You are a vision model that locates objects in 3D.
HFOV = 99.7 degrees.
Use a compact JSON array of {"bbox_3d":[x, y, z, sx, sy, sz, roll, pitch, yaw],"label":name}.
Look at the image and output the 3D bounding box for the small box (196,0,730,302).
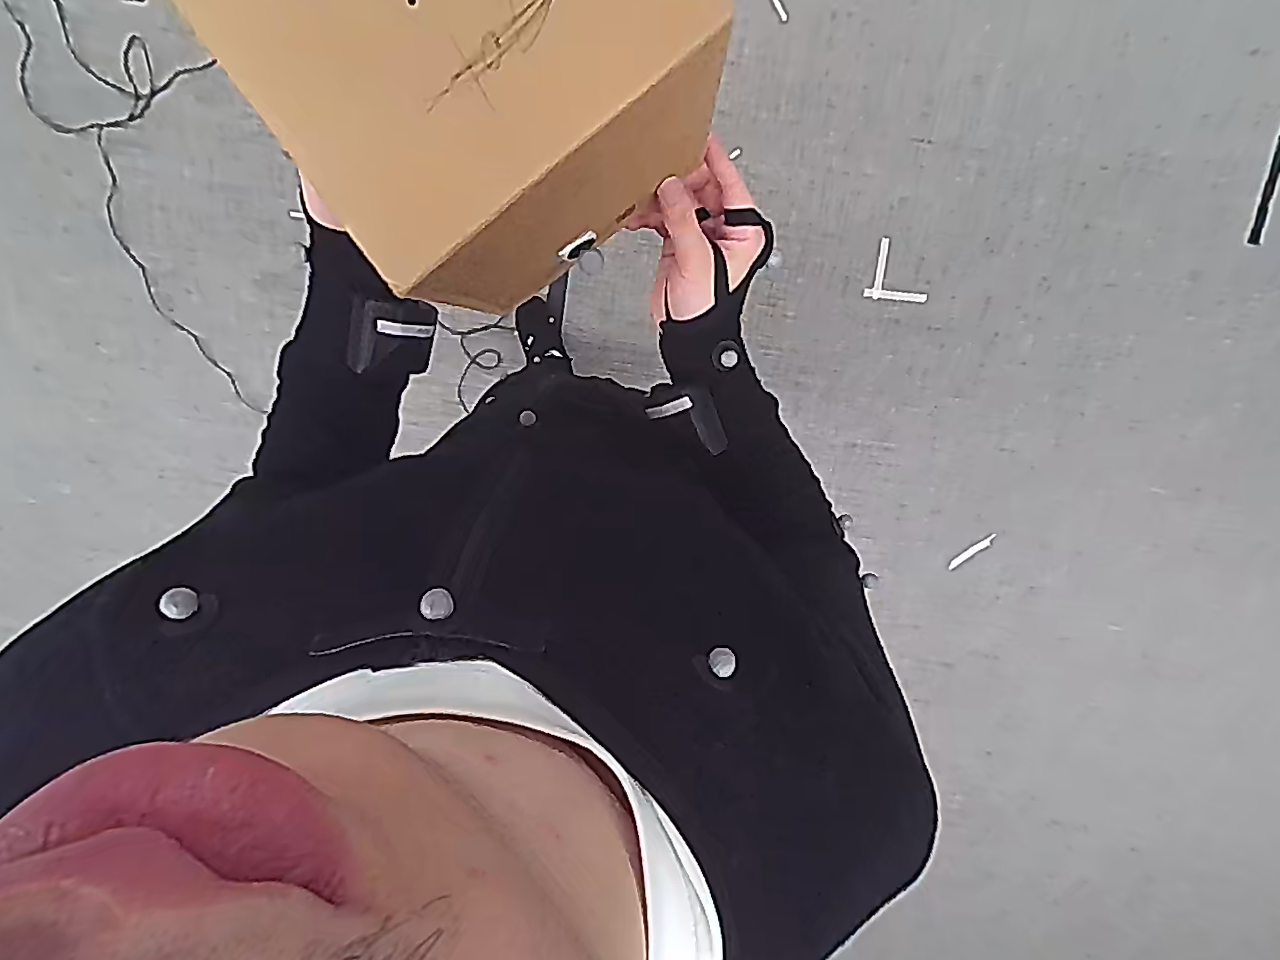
[{"bbox_3d":[-0.077,-0.213,0.280,0.168,0.176,0.179,-34,100,11],"label":"small box"}]
